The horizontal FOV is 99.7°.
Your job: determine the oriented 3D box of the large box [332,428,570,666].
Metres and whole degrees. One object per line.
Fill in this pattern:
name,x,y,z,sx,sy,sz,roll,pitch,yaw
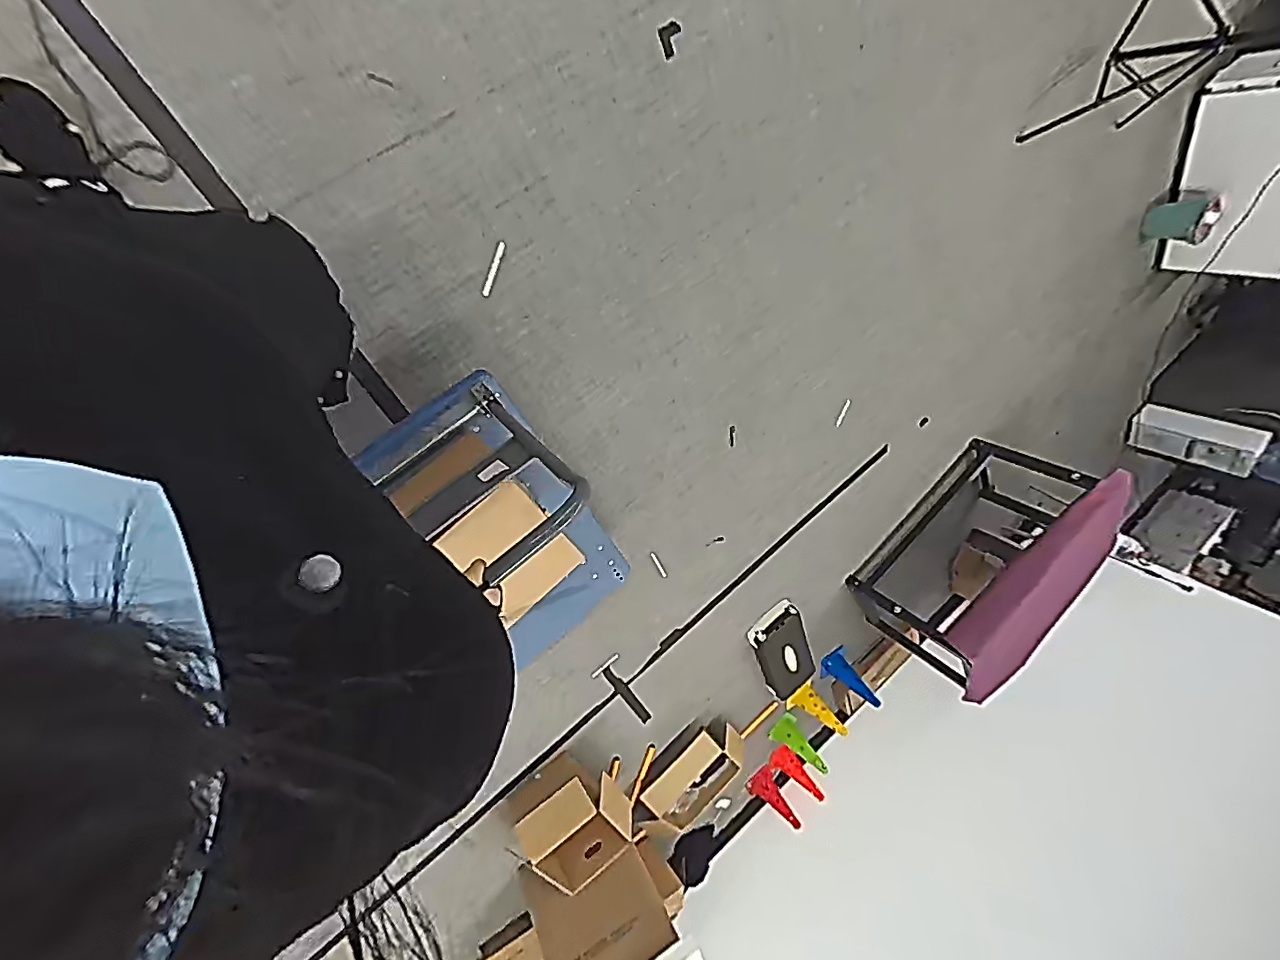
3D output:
large box,-0.453,0.148,1.301,0.408,0.320,0.320,-42,129,-8
